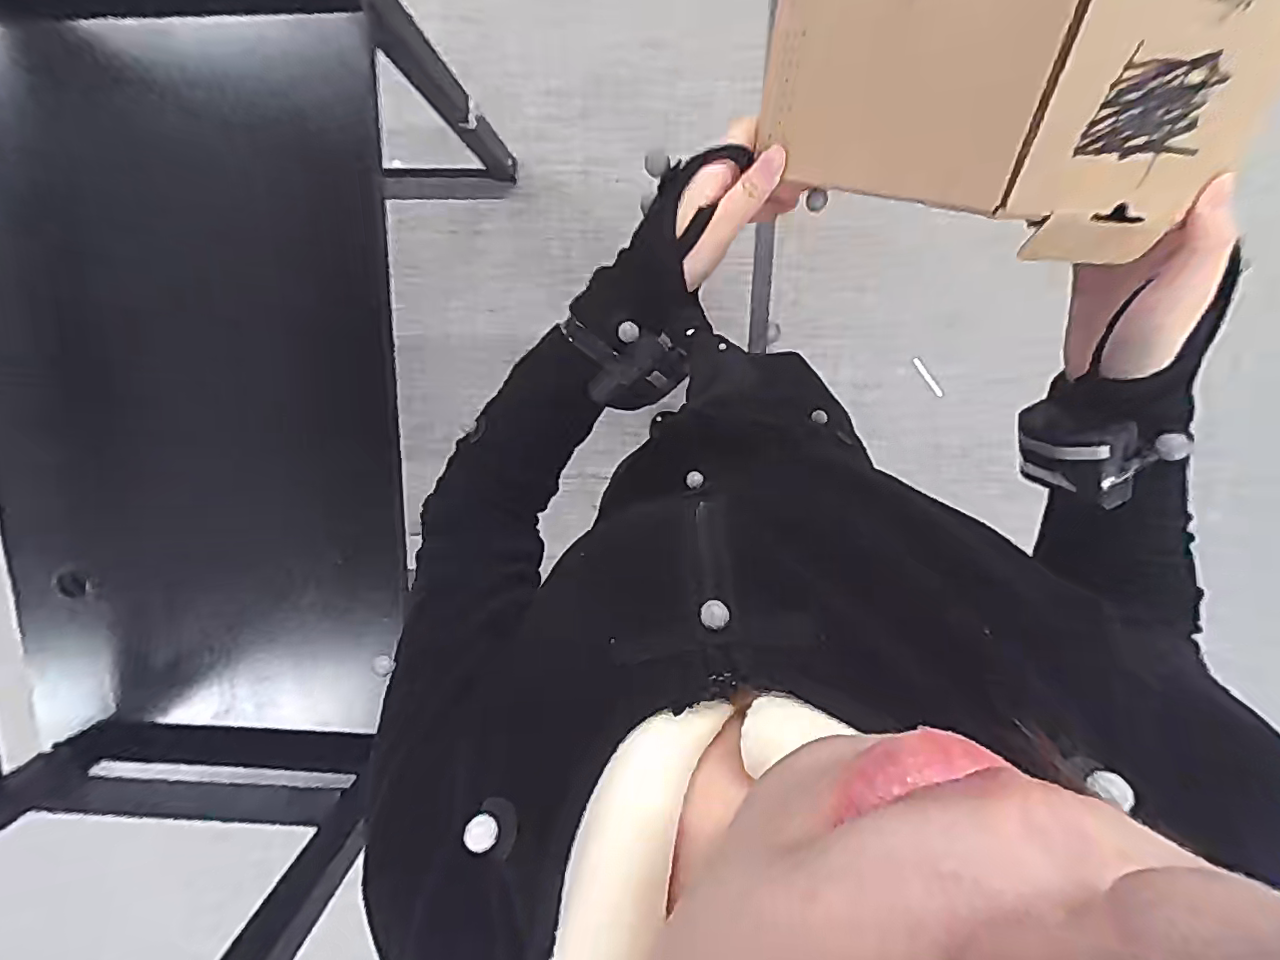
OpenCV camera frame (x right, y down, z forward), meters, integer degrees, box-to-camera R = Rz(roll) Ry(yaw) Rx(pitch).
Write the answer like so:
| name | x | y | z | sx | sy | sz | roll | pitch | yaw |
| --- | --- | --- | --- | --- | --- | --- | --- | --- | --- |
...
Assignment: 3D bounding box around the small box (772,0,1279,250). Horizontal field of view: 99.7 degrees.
| name | x | y | z | sx | sy | sz | roll | pitch | yaw |
| --- | --- | --- | --- | --- | --- | --- | --- | --- | --- |
| small box | 0.186 | -0.218 | 0.252 | 0.168 | 0.176 | 0.179 | -9 | 124 | -24 |
